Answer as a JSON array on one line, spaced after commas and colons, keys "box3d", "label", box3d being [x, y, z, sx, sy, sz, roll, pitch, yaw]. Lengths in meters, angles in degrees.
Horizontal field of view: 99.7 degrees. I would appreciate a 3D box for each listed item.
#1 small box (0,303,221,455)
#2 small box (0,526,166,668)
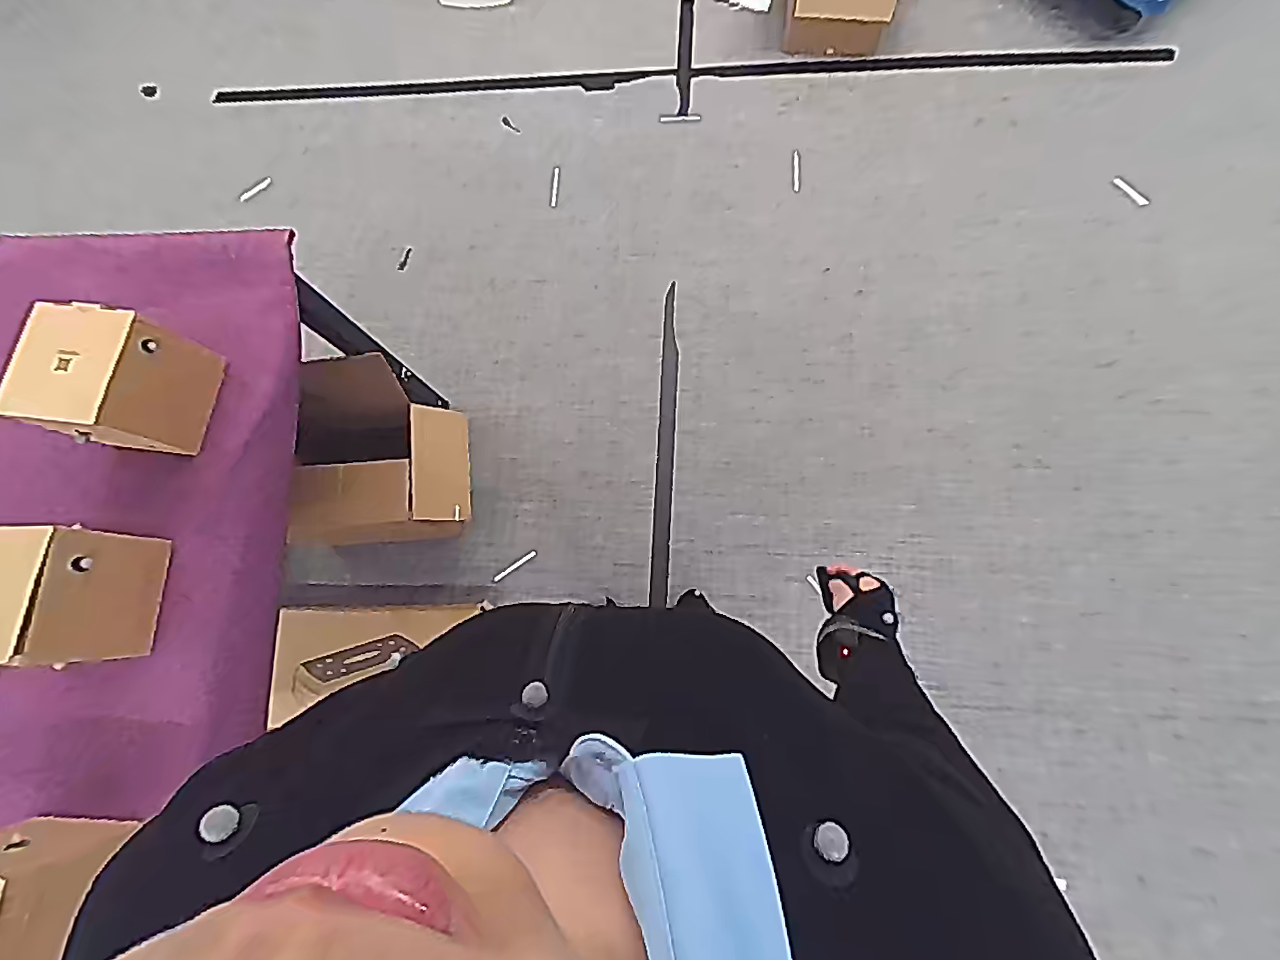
[{"box3d": [-0.800, -0.145, 0.831, 0.168, 0.176, 0.179, 6, 77, 6], "label": "small box"}, {"box3d": [-0.826, 0.164, 0.760, 0.168, 0.176, 0.179, -1, 77, 6], "label": "small box"}]
